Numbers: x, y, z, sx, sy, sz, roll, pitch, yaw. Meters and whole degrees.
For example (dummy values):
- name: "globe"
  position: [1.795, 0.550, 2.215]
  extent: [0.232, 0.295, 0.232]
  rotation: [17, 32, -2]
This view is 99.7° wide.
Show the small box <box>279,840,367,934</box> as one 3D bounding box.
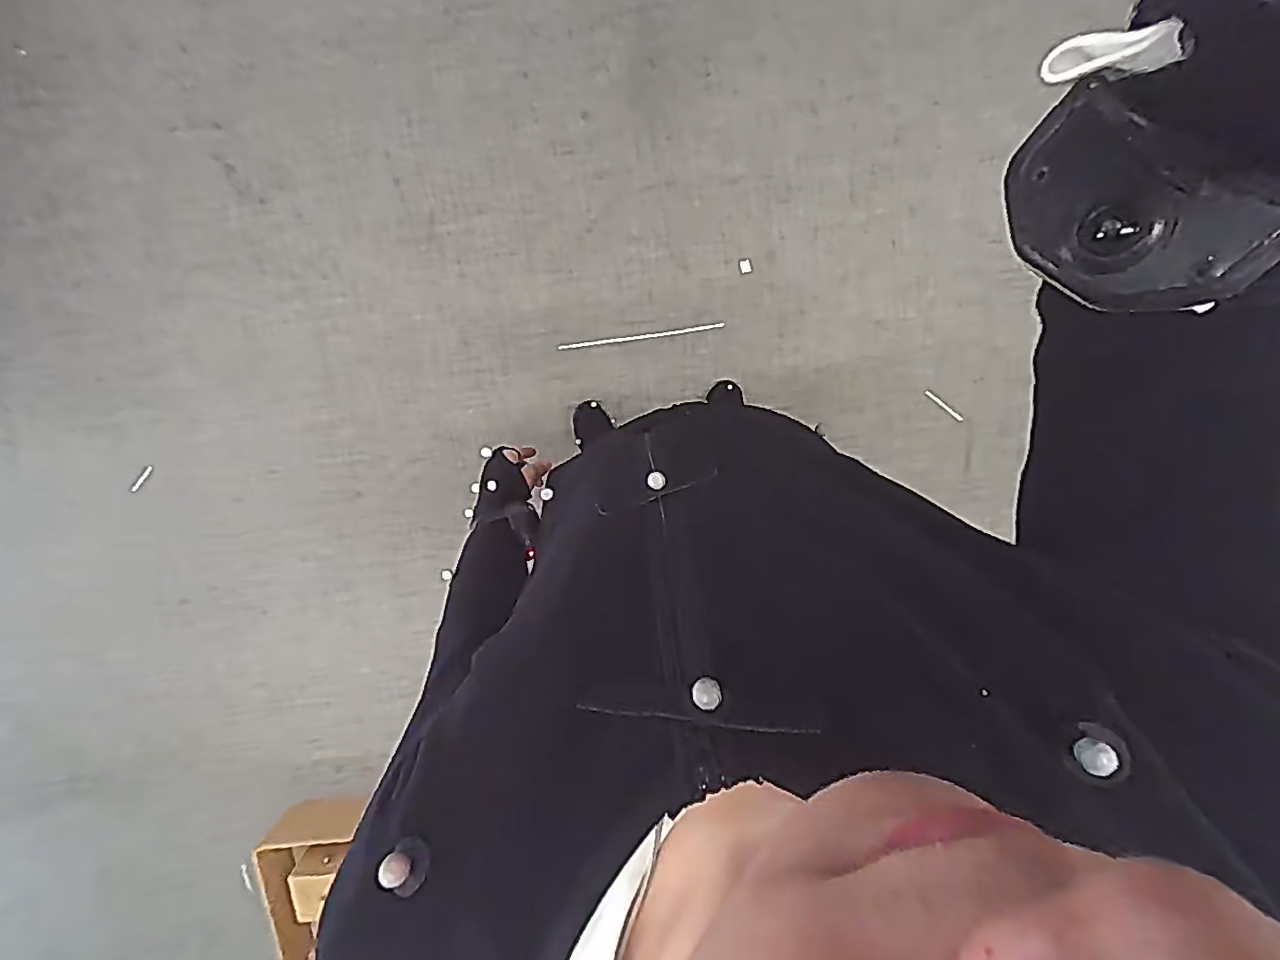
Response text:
- name: "small box"
  position: [-0.976, 1.259, 1.685]
  extent: [0.179, 0.176, 0.168]
  rotation: [-4, 99, 0]
